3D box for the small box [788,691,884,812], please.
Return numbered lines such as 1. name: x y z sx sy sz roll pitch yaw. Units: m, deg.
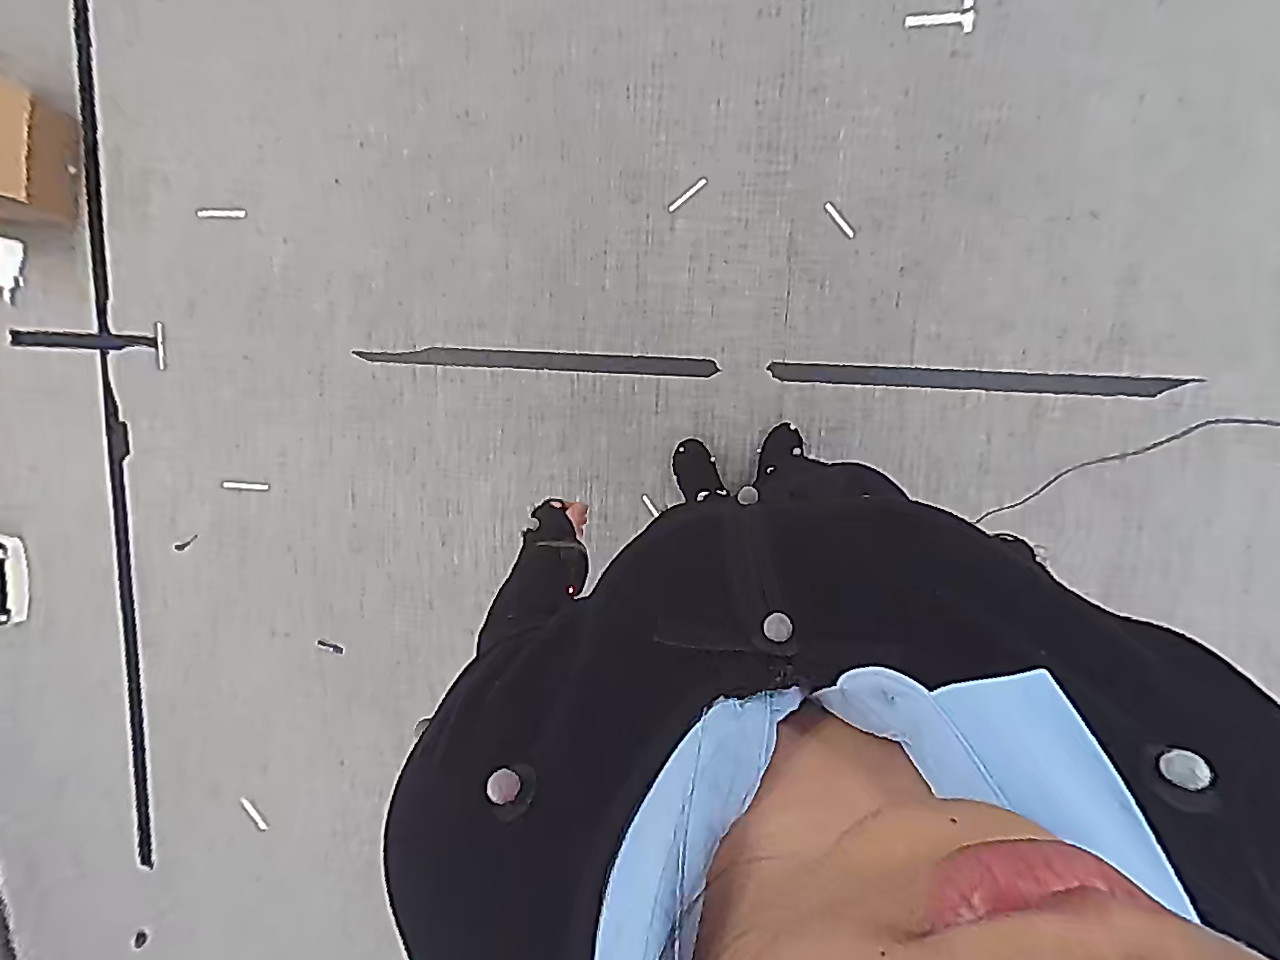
1. small box: 0.441 0.617 1.246 0.168 0.176 0.179 5 96 6
